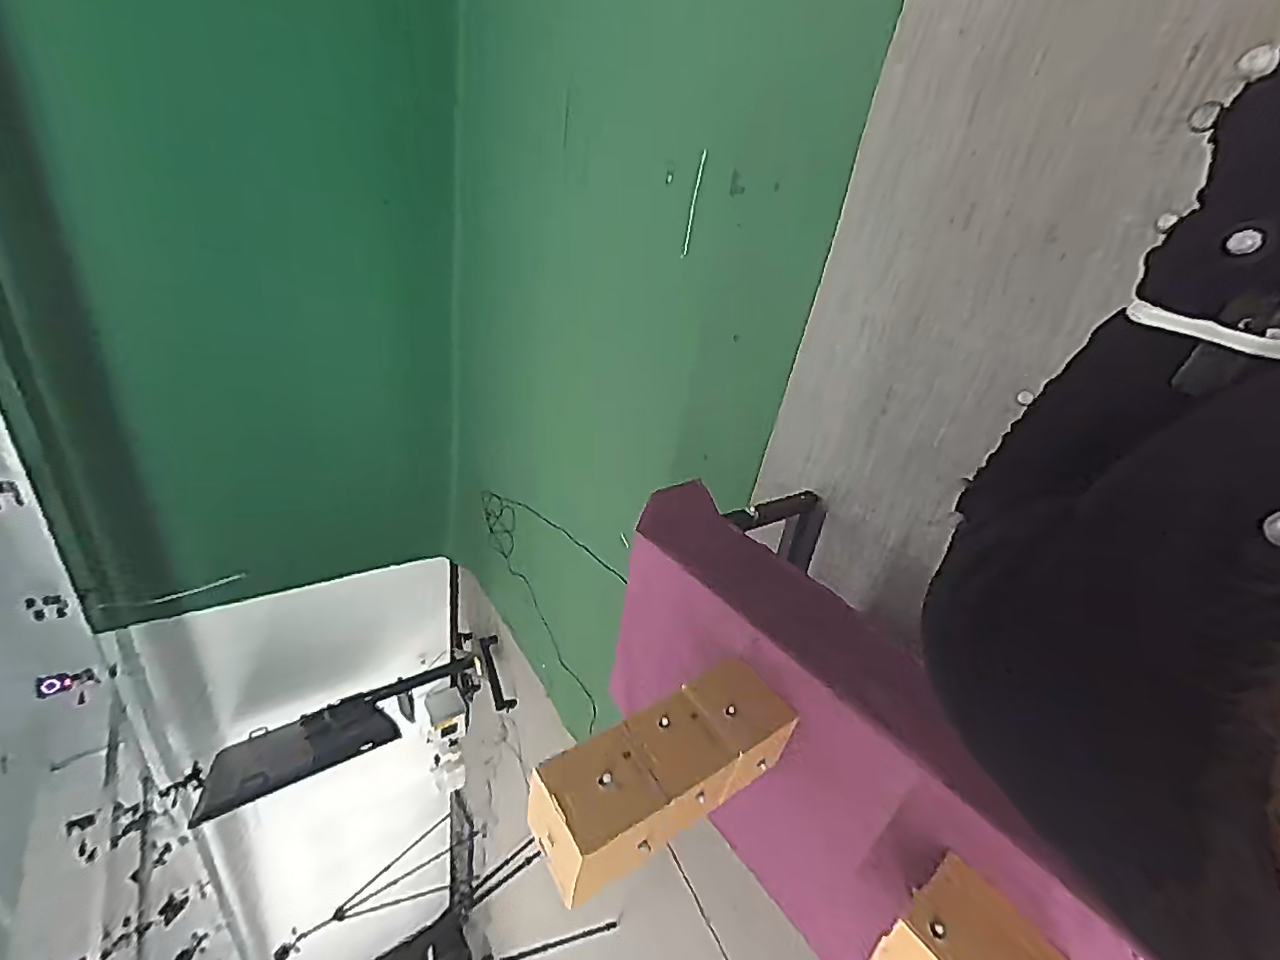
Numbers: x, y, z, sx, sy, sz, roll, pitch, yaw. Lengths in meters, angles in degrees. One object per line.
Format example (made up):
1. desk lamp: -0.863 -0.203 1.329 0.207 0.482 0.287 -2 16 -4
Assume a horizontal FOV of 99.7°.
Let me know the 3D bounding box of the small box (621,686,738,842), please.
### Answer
1. small box: 0.064 0.531 1.035 0.168 0.176 0.179 43 132 41

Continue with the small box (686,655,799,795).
1. small box: 0.196 0.498 1.124 0.179 0.176 0.168 43 131 41

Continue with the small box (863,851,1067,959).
1. small box: 0.472 0.703 0.792 0.179 0.176 0.168 39 129 44

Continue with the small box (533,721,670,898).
1. small box: -0.068 0.559 0.940 0.168 0.176 0.179 42 131 42
